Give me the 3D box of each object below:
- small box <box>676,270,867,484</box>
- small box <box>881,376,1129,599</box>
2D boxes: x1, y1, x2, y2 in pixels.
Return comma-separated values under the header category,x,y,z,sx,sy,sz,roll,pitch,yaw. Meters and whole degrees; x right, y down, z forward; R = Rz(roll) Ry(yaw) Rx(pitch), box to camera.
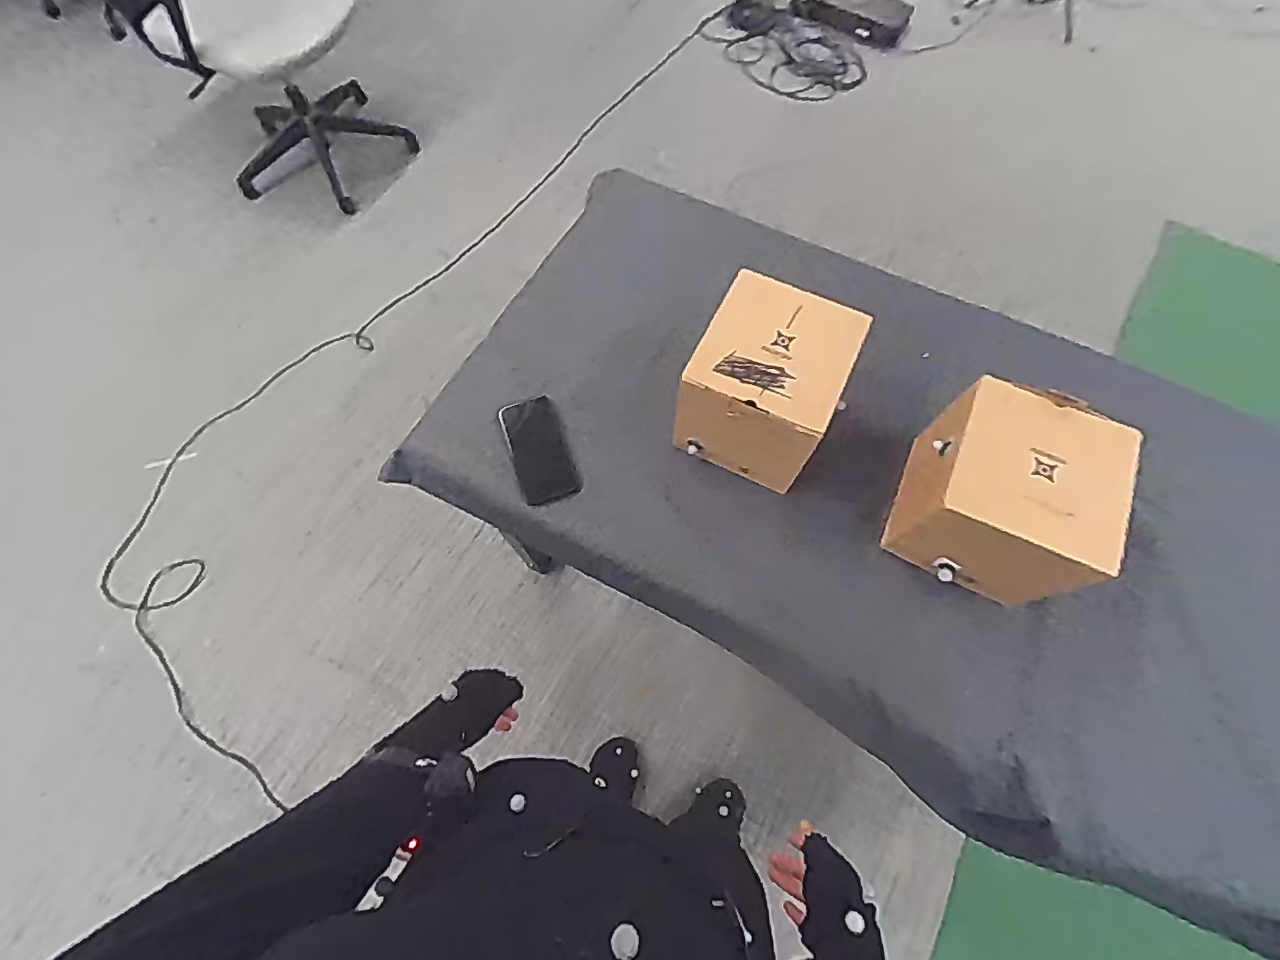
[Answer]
category,x,y,z,sx,sy,sz,roll,pitch,yaw
small box,0.154,-0.120,0.684,0.168,0.176,0.179,25,69,10
small box,0.410,0.017,0.633,0.168,0.176,0.179,24,70,11
